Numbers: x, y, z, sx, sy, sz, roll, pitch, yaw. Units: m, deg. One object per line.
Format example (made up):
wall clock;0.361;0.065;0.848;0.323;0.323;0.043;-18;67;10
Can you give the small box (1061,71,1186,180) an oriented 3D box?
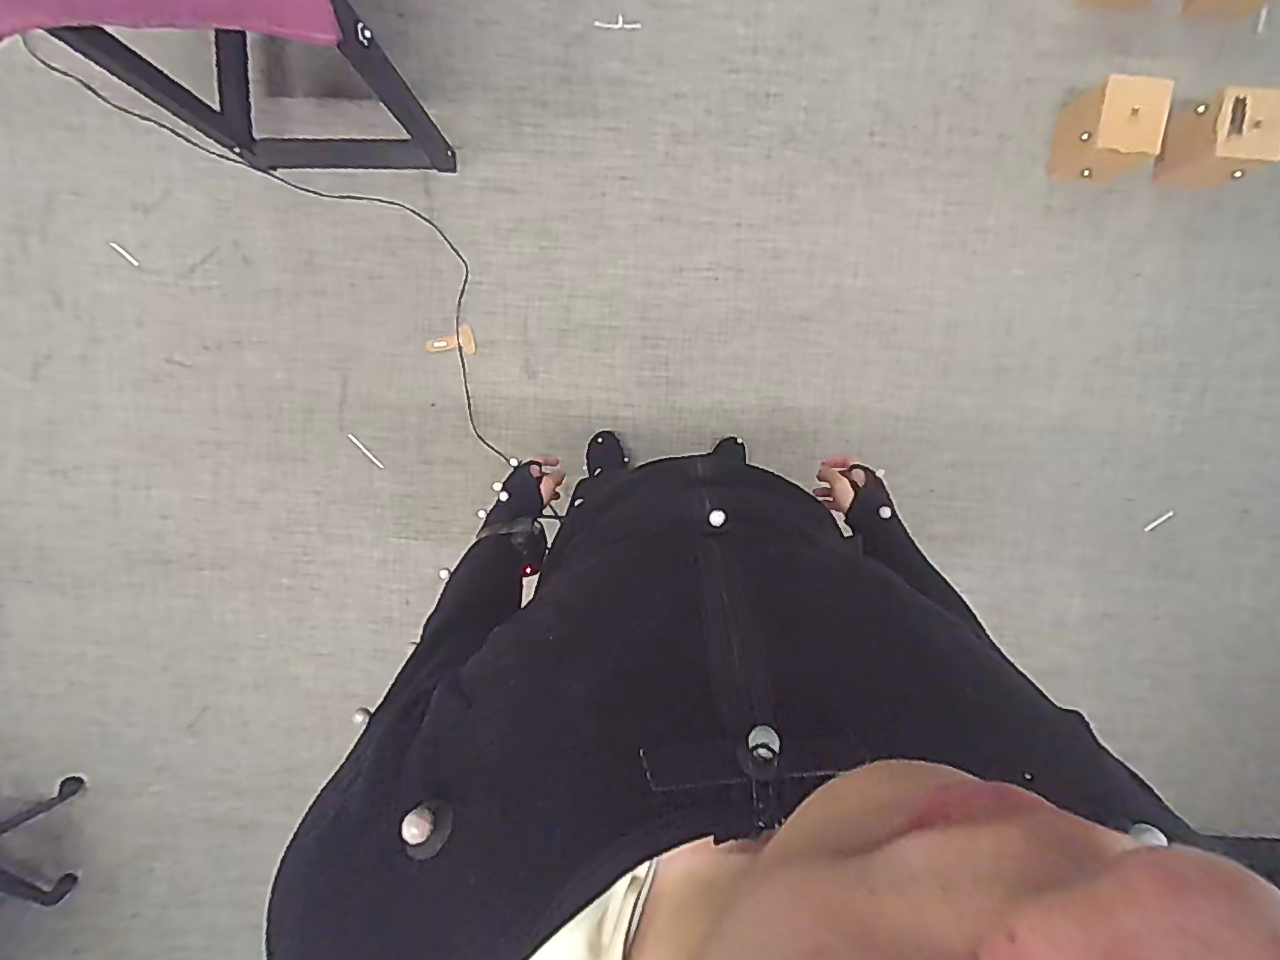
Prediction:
small box;1.248;-0.918;1.410;0.168;0.176;0.179;6;98;1
